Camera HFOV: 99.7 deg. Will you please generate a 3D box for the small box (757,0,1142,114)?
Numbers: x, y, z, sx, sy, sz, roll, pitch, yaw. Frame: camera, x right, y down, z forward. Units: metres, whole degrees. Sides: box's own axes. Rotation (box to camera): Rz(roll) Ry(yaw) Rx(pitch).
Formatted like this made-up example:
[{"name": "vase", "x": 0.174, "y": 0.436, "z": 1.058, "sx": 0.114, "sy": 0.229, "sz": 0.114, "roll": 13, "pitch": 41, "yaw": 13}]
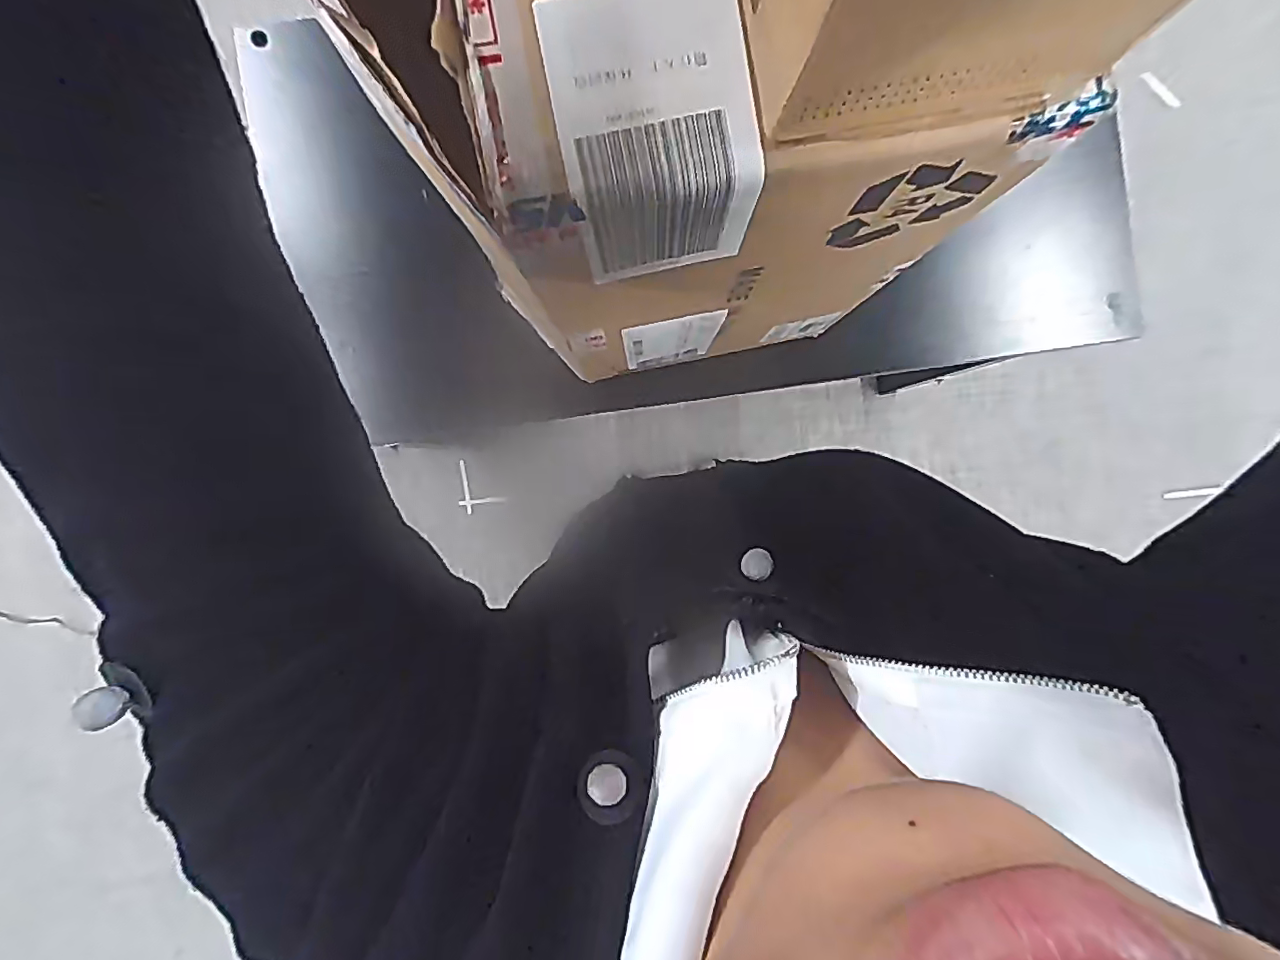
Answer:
[{"name": "small box", "x": 0.136, "y": -0.274, "z": 0.198, "sx": 0.179, "sy": 0.176, "sz": 0.168, "roll": -11, "pitch": 94, "yaw": 0}]
